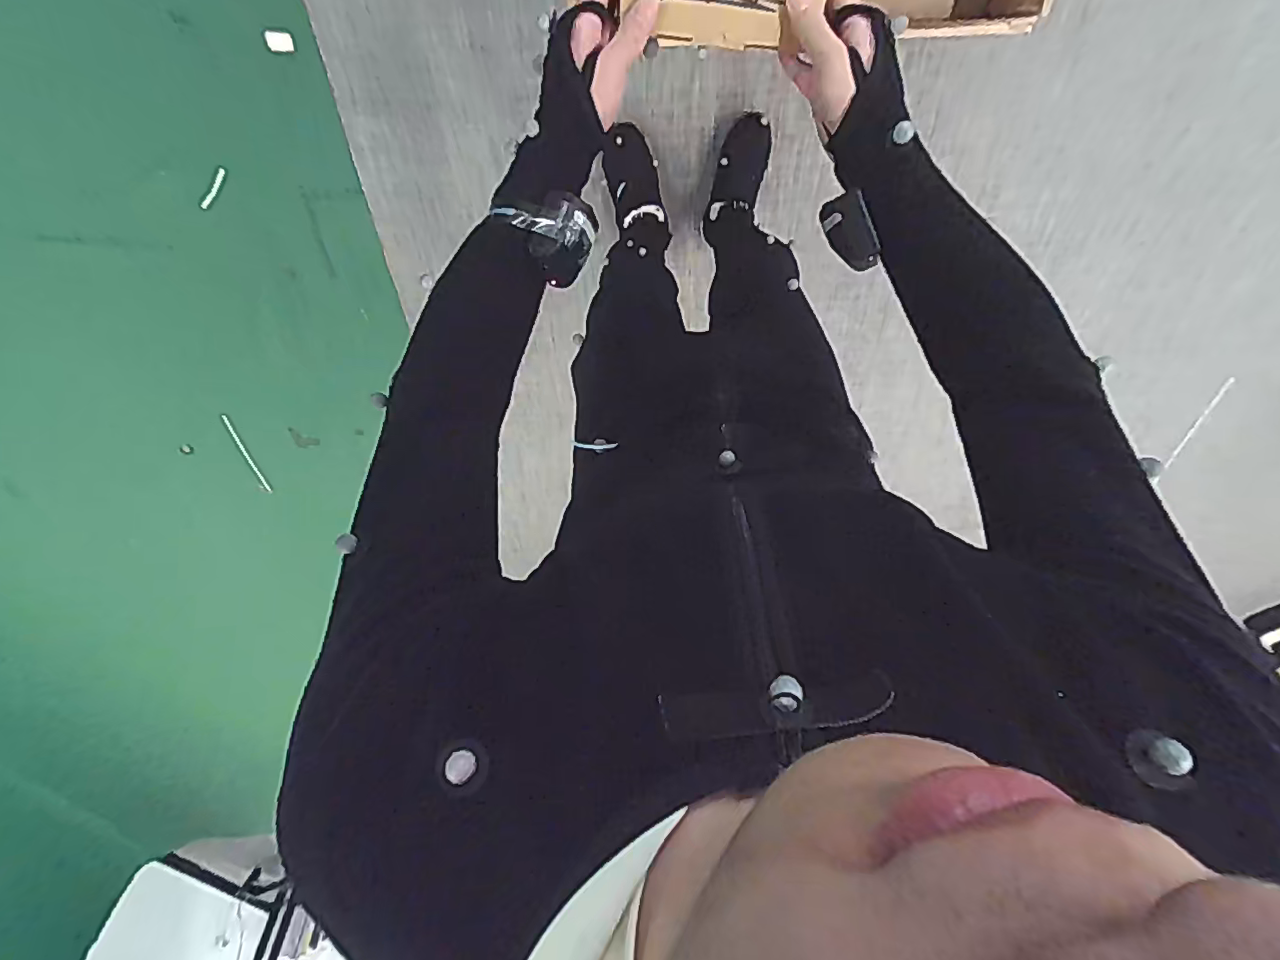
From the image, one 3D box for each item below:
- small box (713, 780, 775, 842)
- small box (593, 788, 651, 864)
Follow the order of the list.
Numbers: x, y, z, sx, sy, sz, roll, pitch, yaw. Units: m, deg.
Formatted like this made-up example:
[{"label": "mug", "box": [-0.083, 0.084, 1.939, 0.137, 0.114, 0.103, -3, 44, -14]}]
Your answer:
[{"label": "small box", "box": [0.333, 1.097, 1.764, 0.168, 0.176, 0.179, -5, 131, 1]}, {"label": "small box", "box": [-0.056, 1.128, 1.765, 0.179, 0.176, 0.168, -4, 131, 0]}]
